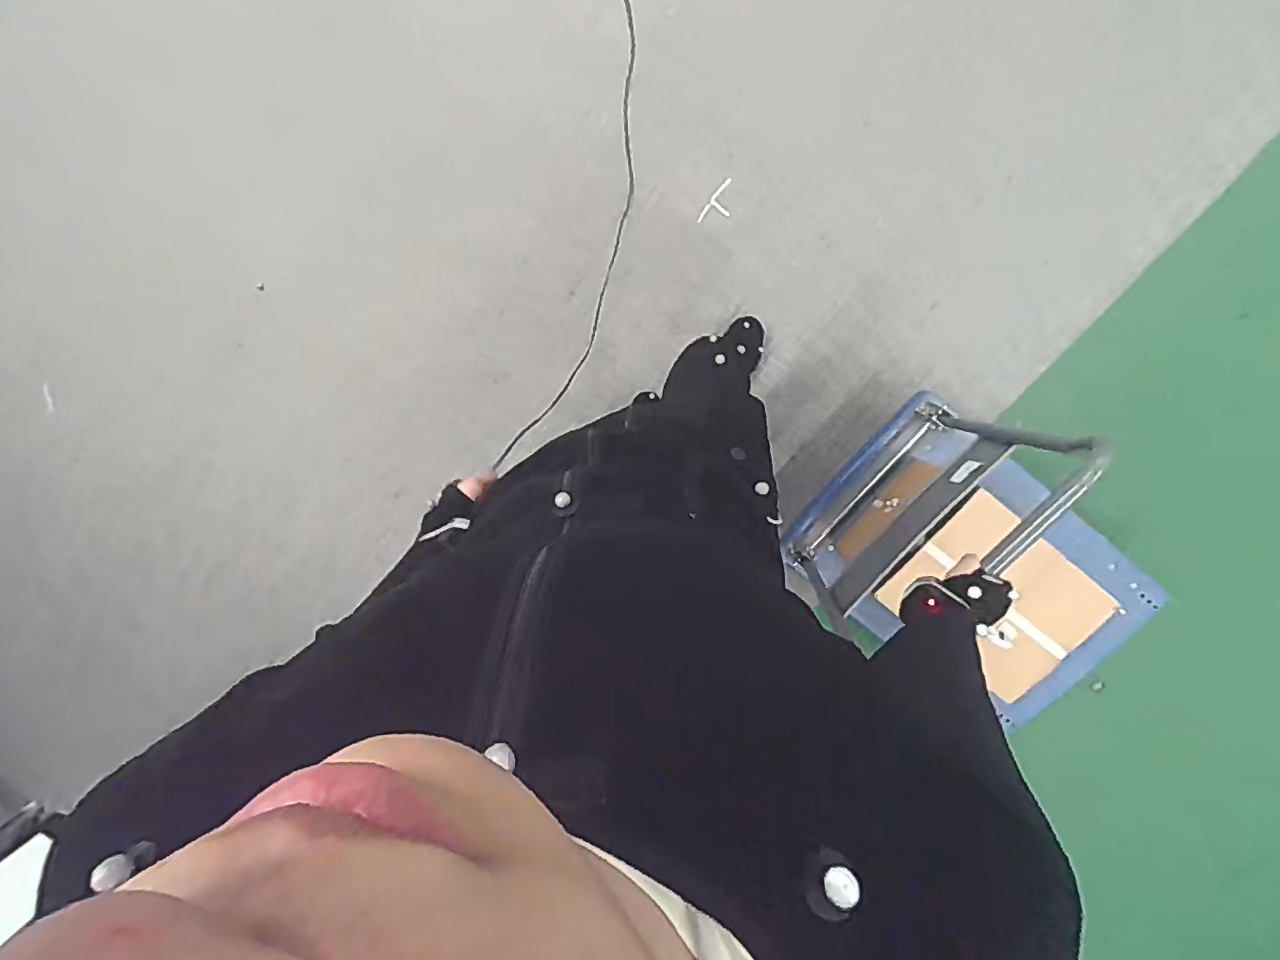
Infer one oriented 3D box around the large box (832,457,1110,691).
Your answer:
[{"bbox_3d":[0.746,0.201,1.289,0.408,0.320,0.320,39,104,-6],"label":"large box"}]
